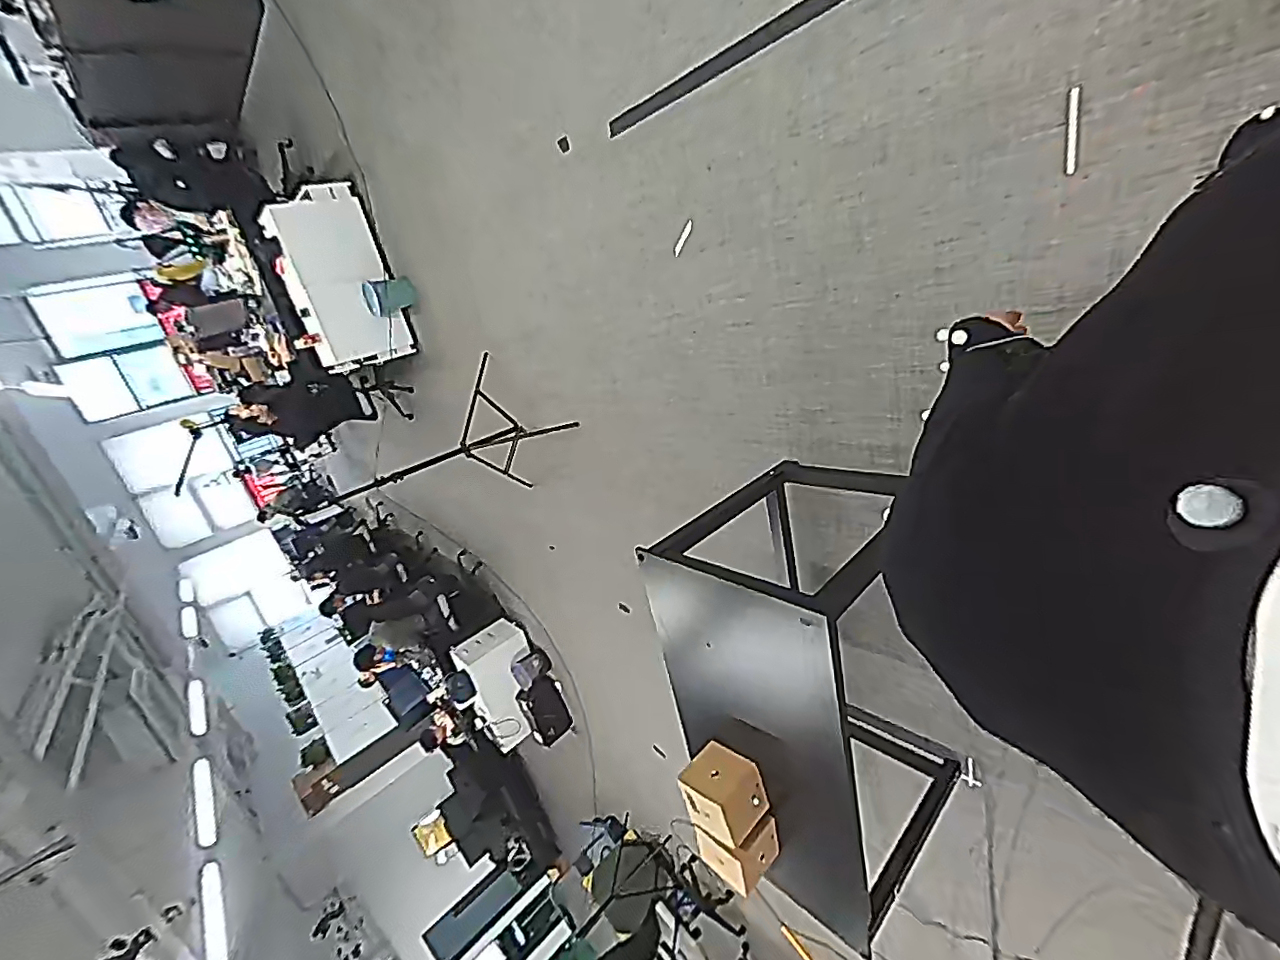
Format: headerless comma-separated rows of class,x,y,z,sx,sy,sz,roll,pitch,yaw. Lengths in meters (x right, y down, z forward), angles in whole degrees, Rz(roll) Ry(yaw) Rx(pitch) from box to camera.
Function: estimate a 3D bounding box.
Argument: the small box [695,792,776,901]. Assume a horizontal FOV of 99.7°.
small box,0.292,1.088,1.620,0.179,0.176,0.168,15,123,47
